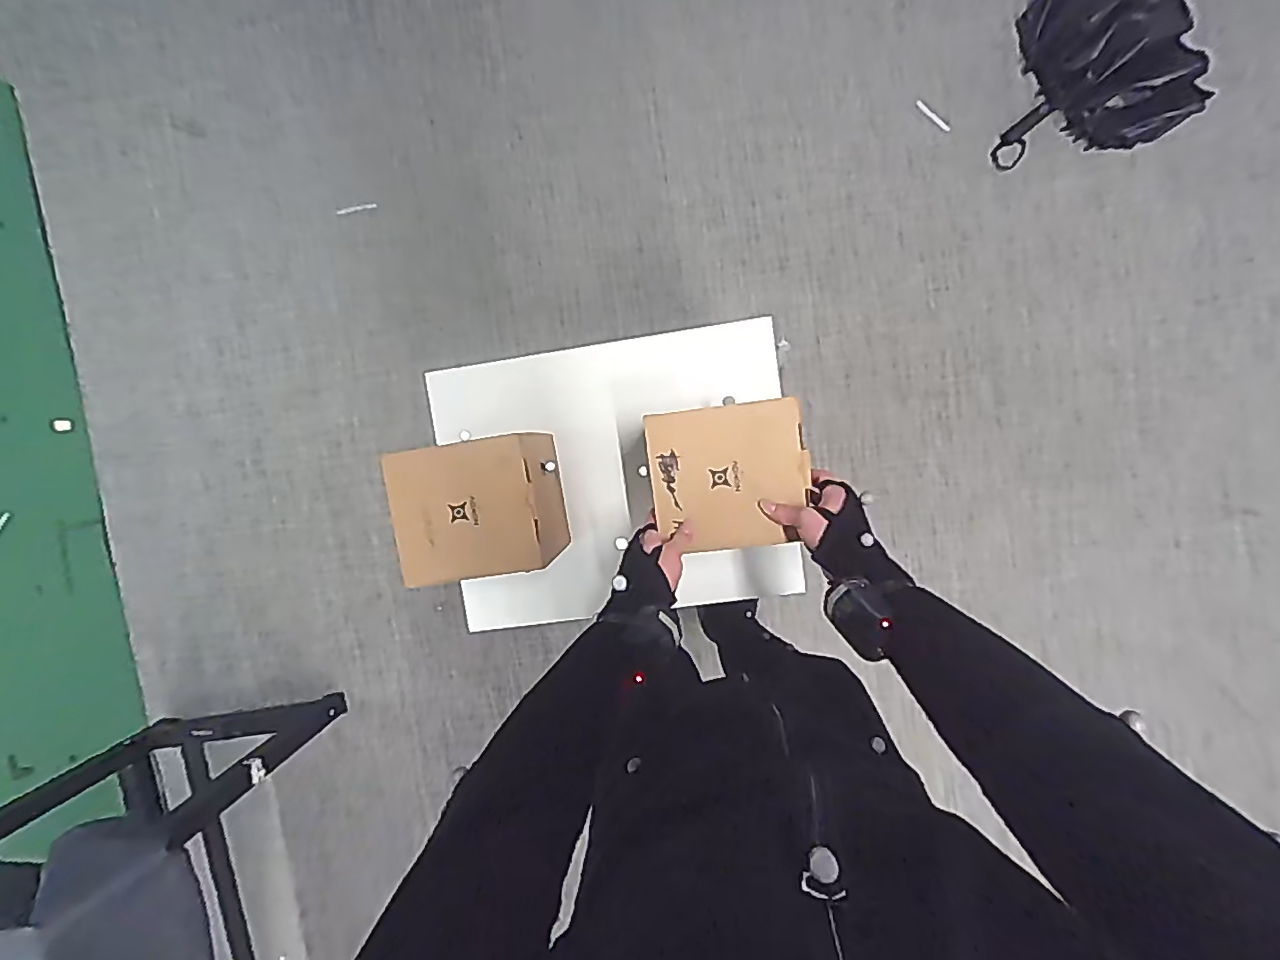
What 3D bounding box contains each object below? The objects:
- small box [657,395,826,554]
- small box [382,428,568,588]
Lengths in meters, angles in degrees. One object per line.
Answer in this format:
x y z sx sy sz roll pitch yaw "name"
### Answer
0.115 -0.011 0.677 0.179 0.176 0.168 -6 93 3 "small box"
-0.194 0.029 0.693 0.179 0.176 0.168 -9 91 3 "small box"
